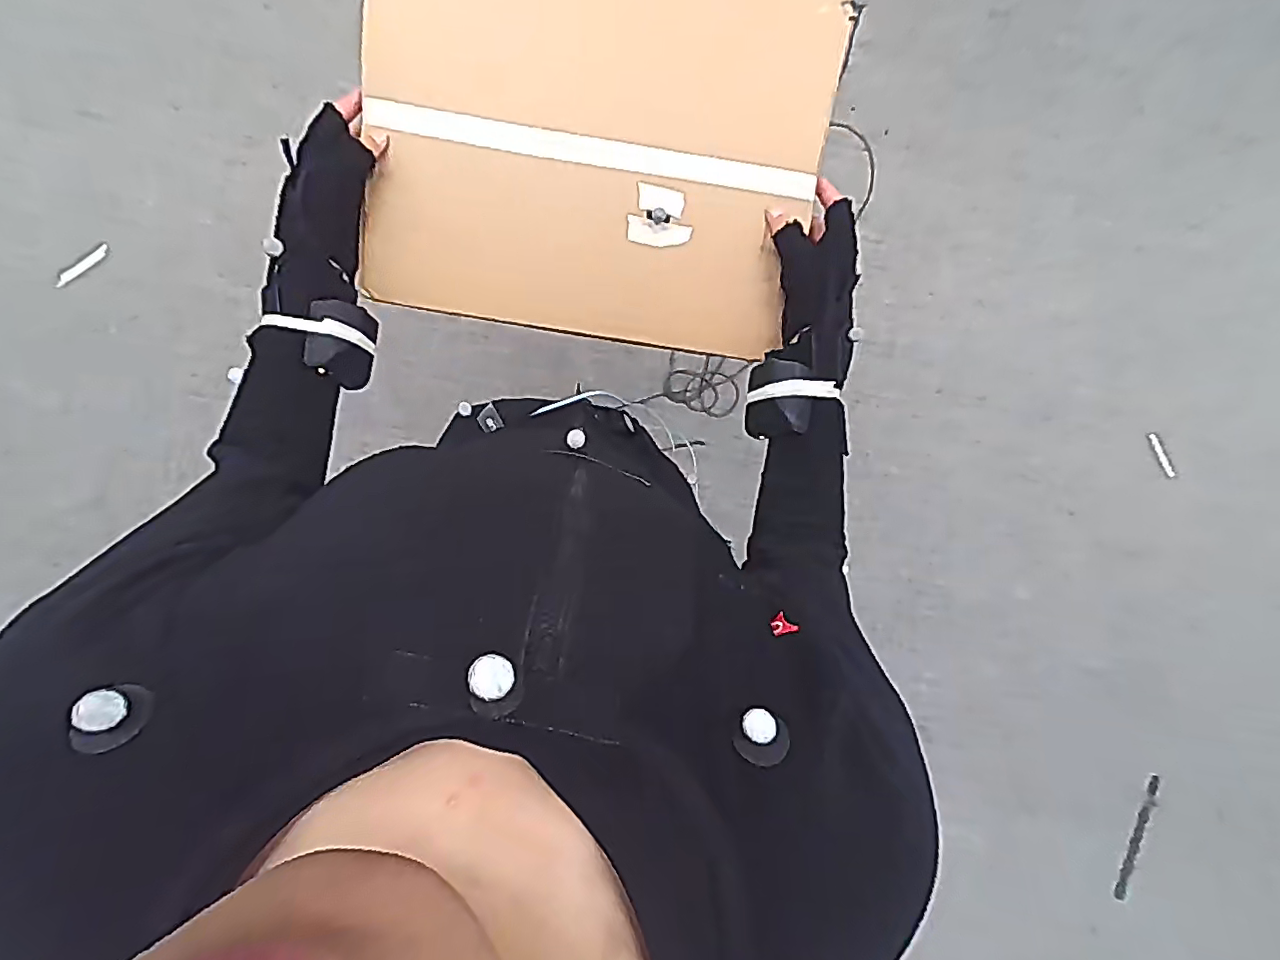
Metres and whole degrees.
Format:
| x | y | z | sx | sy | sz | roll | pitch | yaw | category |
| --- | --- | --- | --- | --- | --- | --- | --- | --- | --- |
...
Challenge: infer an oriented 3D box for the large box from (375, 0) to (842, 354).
| x | y | z | sx | sy | sz | roll | pitch | yaw | category |
| --- | --- | --- | --- | --- | --- | --- | --- | --- | --- |
| -0.044 | -0.334 | 0.640 | 0.408 | 0.320 | 0.320 | 8 | 104 | -4 | large box |
